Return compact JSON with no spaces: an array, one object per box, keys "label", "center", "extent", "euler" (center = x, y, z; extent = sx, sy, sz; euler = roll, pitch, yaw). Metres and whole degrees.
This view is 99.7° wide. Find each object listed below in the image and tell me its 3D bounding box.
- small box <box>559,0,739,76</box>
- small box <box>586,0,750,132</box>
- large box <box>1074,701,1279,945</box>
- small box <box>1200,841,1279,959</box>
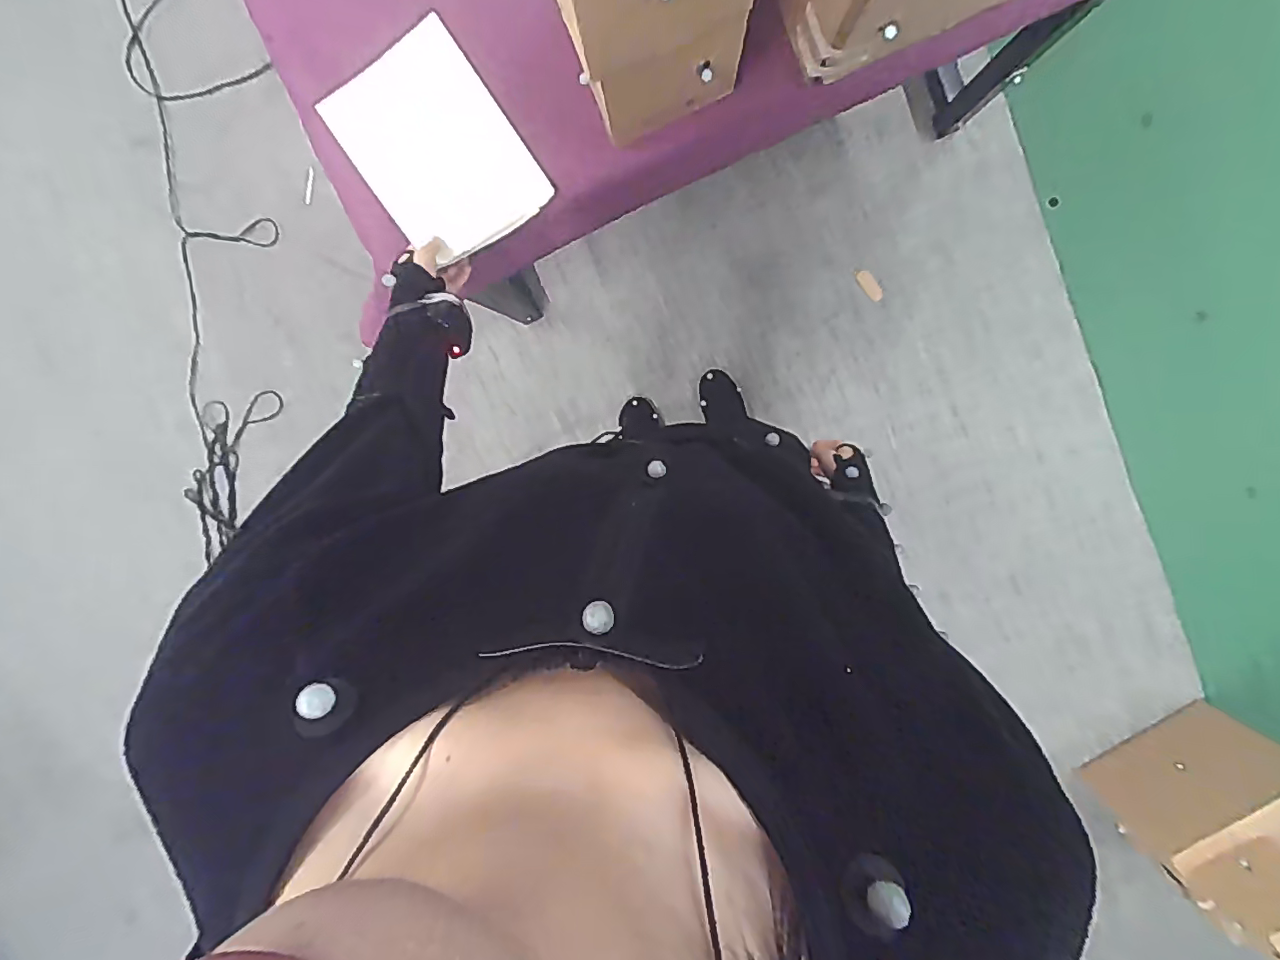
[{"label":"small box","center":[-0.002,-0.489,0.442],"extent":[0.179,0.176,0.168],"euler":[-22,97,6]},{"label":"small box","center":[0.008,-0.527,0.602],"extent":[0.168,0.176,0.179],"euler":[-22,96,6]},{"label":"large box","center":[1.512,0.884,1.436],"extent":[0.408,0.320,0.320],"euler":[-38,97,7]},{"label":"small box","center":[1.422,0.961,1.203],"extent":[0.179,0.176,0.168],"euler":[-33,96,8]}]
